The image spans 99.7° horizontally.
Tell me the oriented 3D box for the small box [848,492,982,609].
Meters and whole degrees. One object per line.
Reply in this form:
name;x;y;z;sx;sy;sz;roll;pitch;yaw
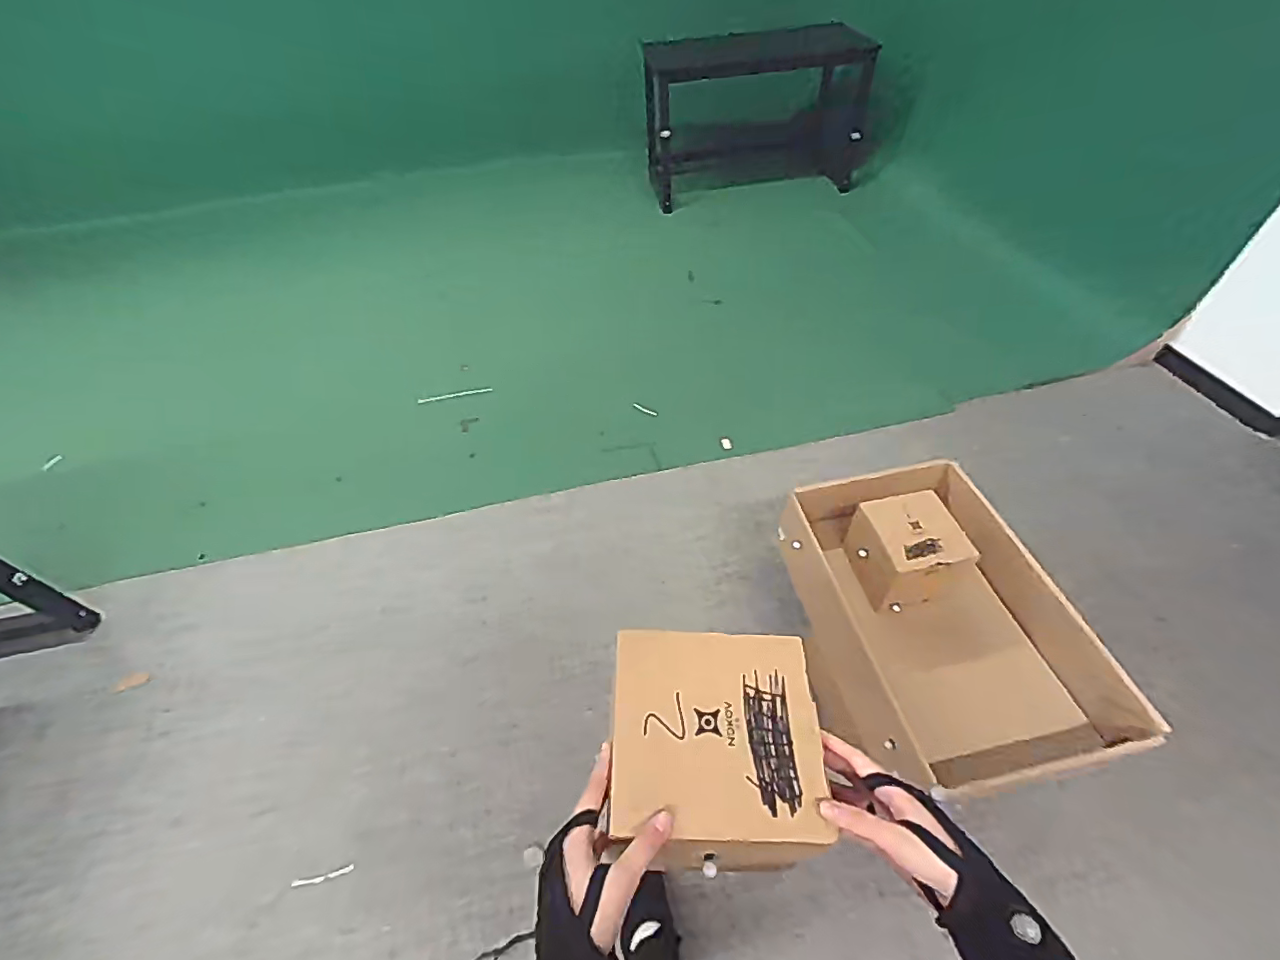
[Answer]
small box;0.560;0.155;1.129;0.168;0.176;0.179;-10;49;-3
